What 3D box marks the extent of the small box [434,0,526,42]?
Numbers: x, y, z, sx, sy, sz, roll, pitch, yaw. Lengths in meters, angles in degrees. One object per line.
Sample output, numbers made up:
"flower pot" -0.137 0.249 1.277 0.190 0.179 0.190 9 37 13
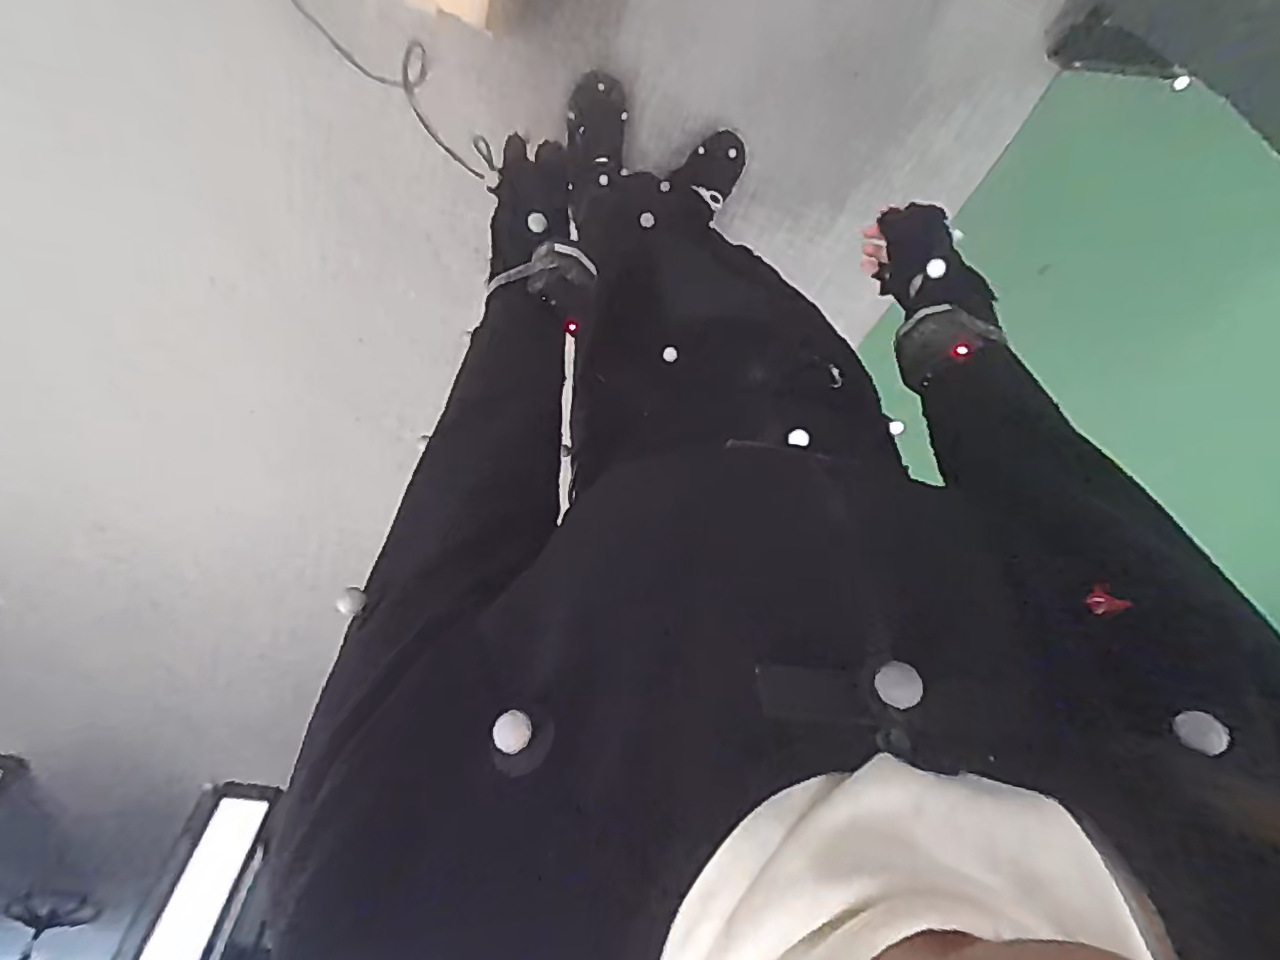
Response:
"small box" -0.258 -0.838 0.849 0.168 0.176 0.179 24 127 -20
